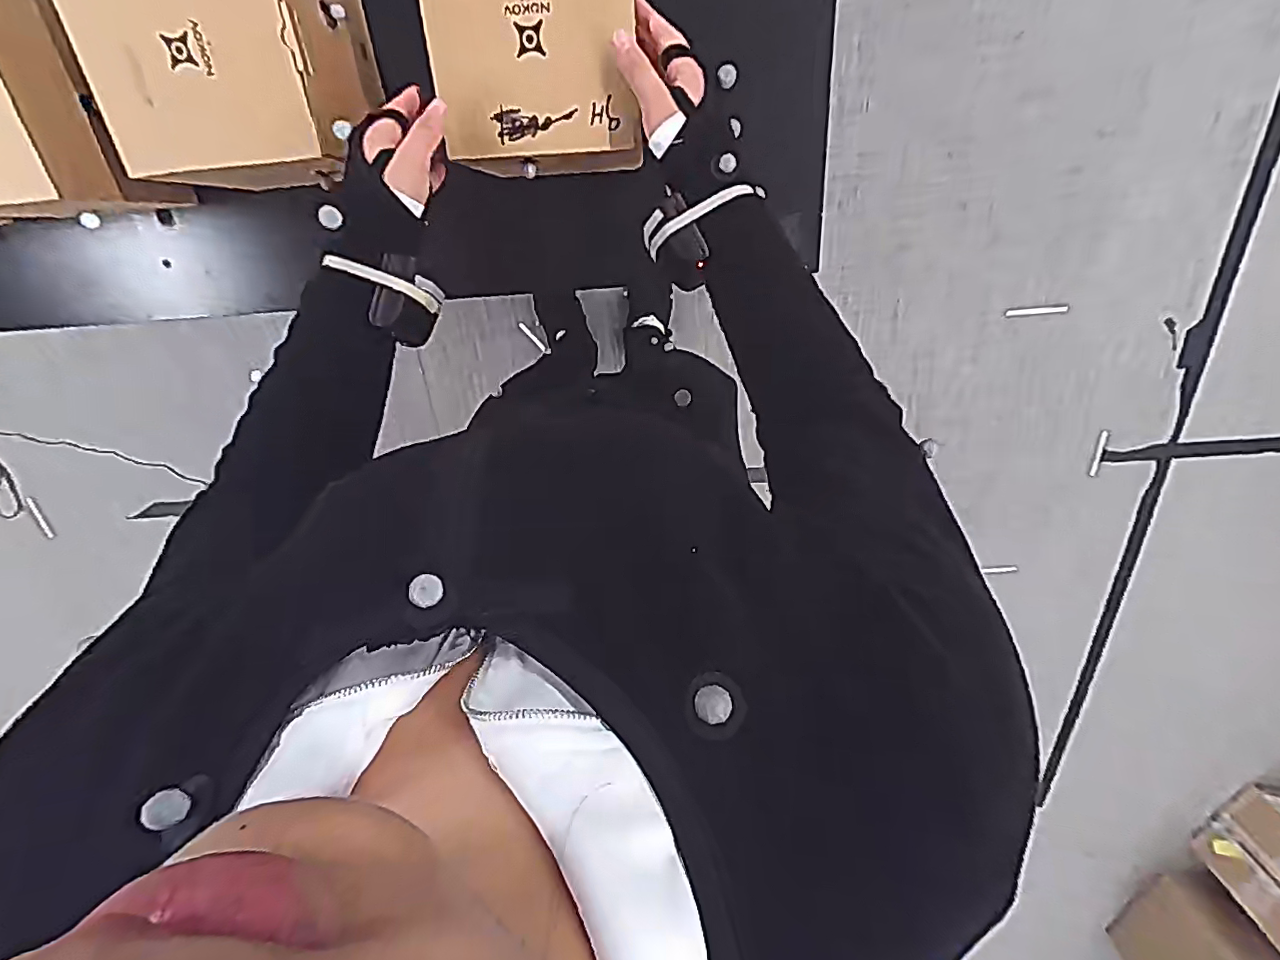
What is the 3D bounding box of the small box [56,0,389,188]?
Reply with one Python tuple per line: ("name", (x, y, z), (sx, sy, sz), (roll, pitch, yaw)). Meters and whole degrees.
("small box", (-0.357, -0.374, 0.498), (0.179, 0.176, 0.168), (-5, 114, 3))
